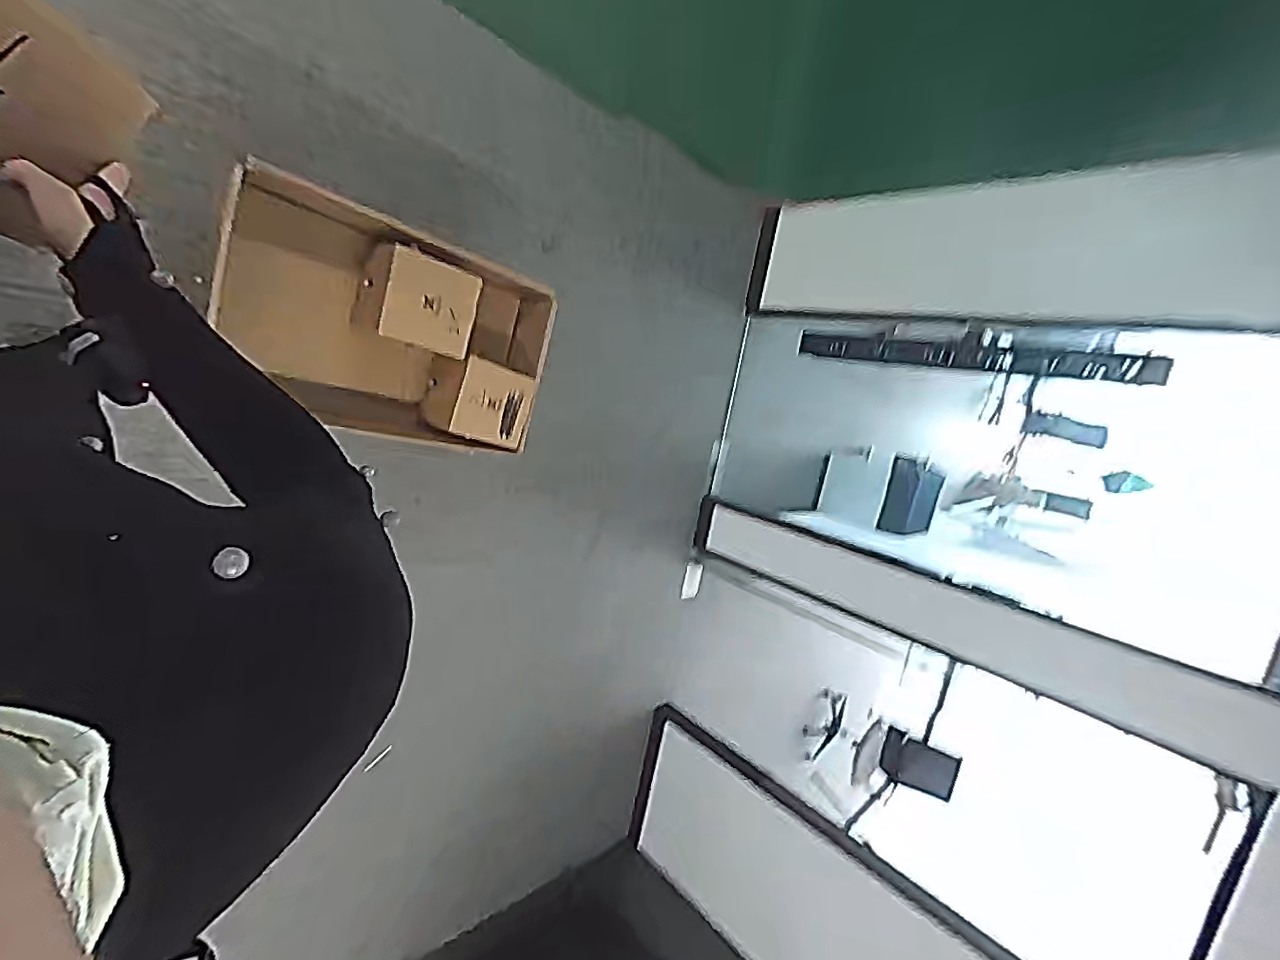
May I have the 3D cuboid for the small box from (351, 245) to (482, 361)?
[{"bbox_3d":[-0.452,-0.350,1.085,0.179,0.176,0.168,10,98,-47],"label":"small box"}]

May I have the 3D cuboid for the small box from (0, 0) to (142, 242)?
[{"bbox_3d":[-0.571,-0.342,0.435,0.179,0.176,0.168,-49,158,1],"label":"small box"}]
